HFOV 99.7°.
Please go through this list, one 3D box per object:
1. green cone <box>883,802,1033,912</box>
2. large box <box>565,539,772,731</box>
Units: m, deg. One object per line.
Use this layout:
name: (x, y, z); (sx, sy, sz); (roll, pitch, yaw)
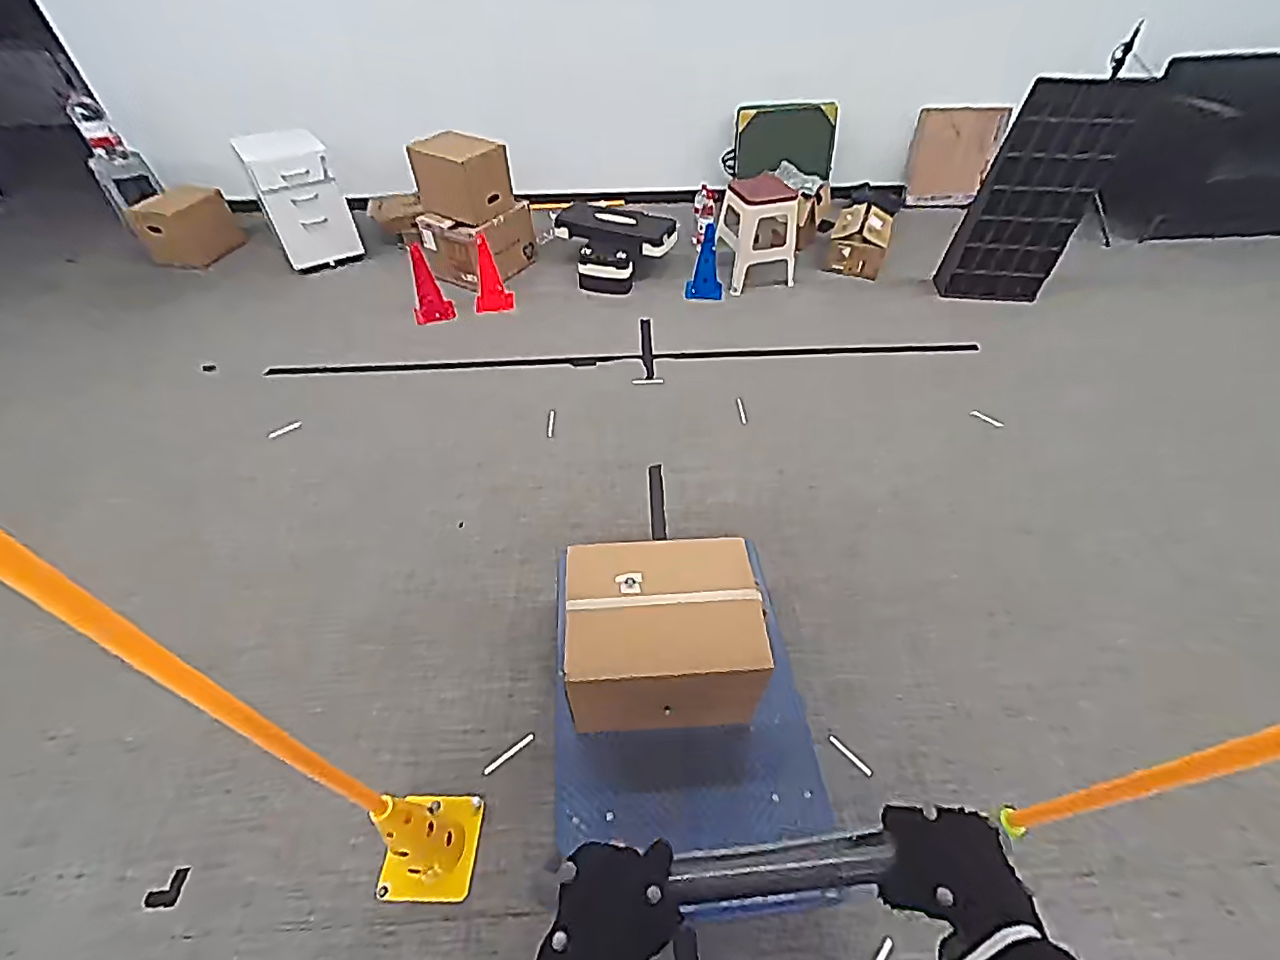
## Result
green cone: (0.667, 0.721, 1.086); (0.202, 0.368, 0.200); (2, 47, 0)
large box: (0.049, 0.359, 1.237); (0.408, 0.320, 0.320); (-3, 48, -2)
